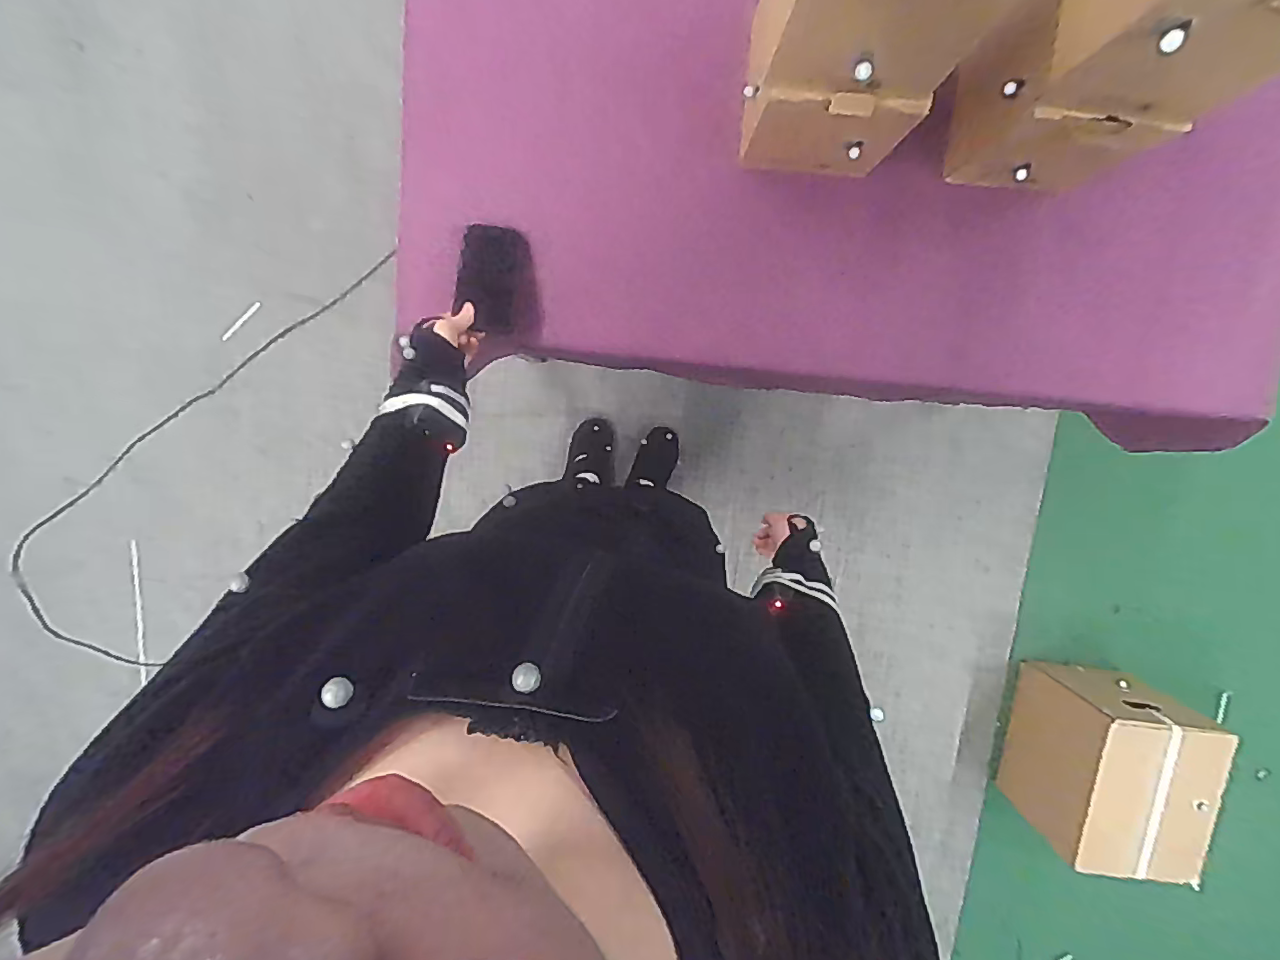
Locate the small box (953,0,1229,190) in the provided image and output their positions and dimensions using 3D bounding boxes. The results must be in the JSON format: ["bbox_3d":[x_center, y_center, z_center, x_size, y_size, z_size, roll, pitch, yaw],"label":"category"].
[{"bbox_3d":[0.486,-0.456,0.607,0.168,0.176,0.179,5,99,0],"label":"small box"}]

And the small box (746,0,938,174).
[{"bbox_3d":[0.221,-0.471,0.607,0.168,0.176,0.179,5,98,-1],"label":"small box"}]

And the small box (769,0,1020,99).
[{"bbox_3d":[0.211,-0.458,0.442,0.168,0.176,0.179,4,99,-1],"label":"small box"}]
